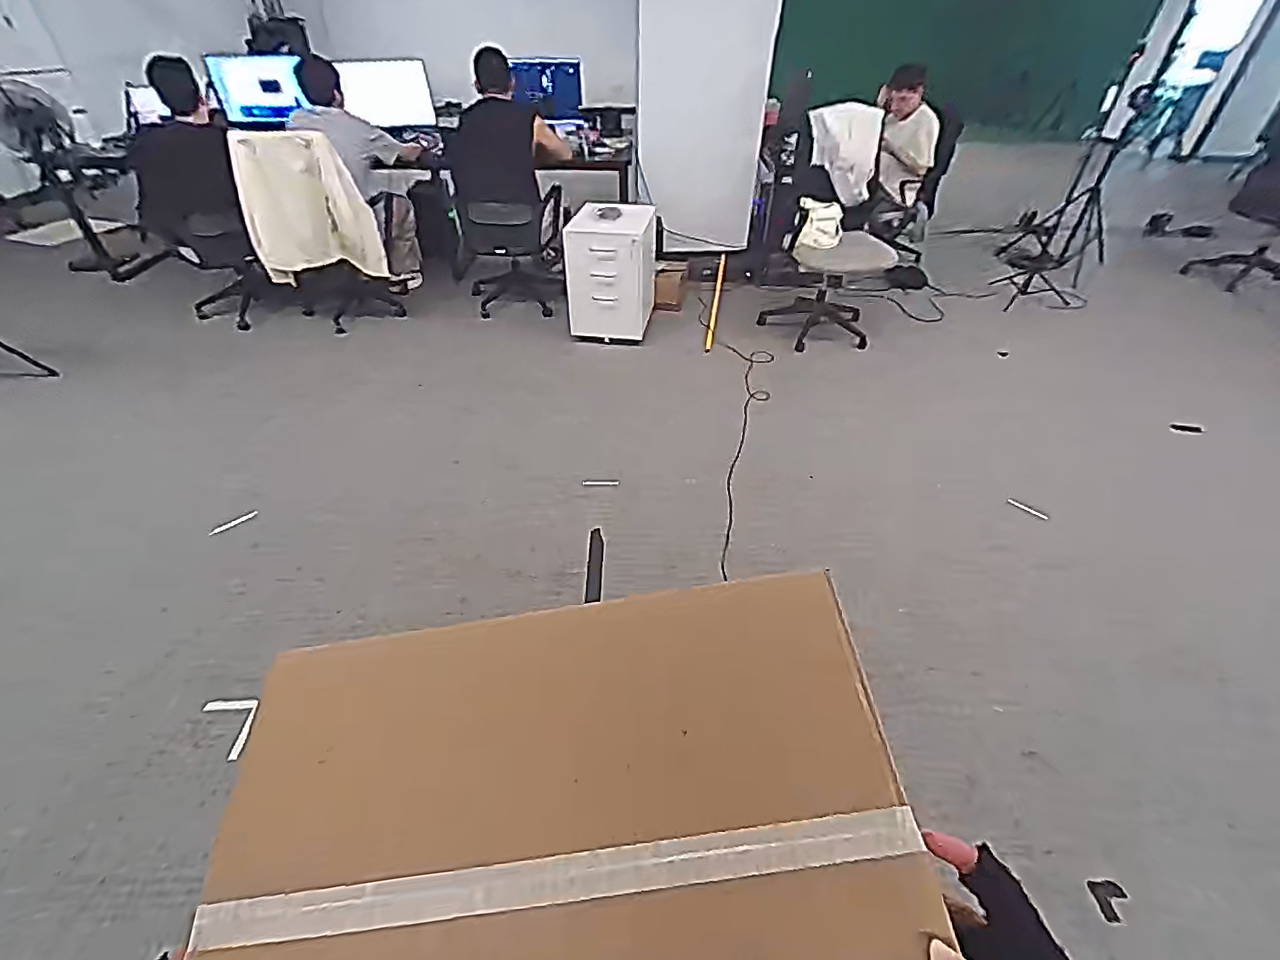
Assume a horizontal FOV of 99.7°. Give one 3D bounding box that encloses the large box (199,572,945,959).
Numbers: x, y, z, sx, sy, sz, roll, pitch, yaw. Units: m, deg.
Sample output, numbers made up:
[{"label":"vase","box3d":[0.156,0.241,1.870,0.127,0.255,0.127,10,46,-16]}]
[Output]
[{"label":"large box","box3d":[-0.031,0.306,0.425,0.408,0.320,0.320,-10,54,2]}]
